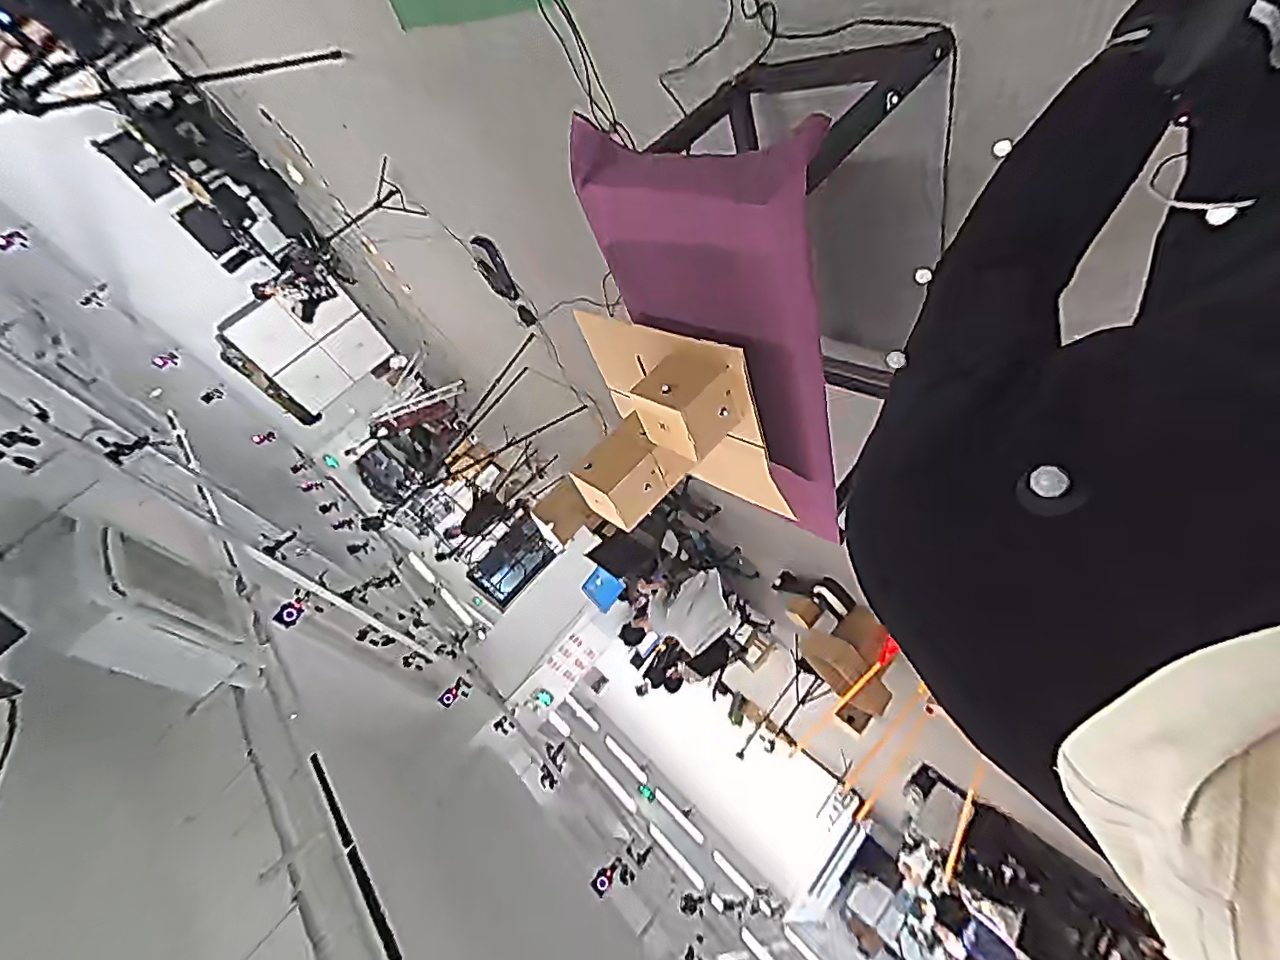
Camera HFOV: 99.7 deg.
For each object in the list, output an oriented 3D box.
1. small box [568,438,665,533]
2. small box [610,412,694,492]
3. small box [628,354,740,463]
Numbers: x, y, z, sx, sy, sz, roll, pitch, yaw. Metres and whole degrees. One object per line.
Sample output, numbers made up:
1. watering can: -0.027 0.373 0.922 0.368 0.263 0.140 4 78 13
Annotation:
1. small box: -0.060 0.007 1.490 0.179 0.176 0.168 27 154 41
2. small box: 0.051 -0.103 1.540 0.179 0.176 0.168 28 155 41
3. small box: 0.108 -0.175 1.277 0.179 0.176 0.168 27 155 40
